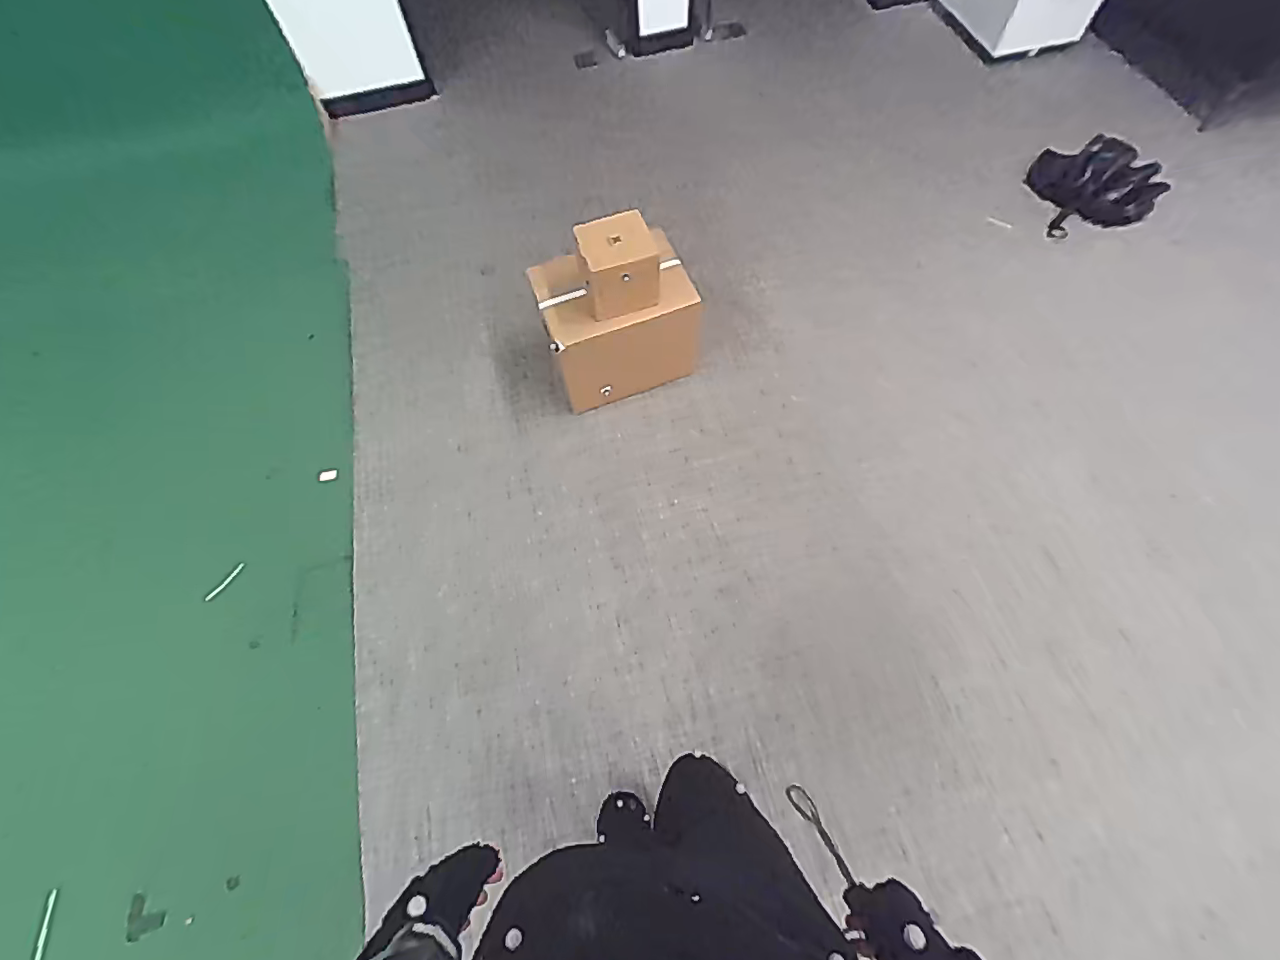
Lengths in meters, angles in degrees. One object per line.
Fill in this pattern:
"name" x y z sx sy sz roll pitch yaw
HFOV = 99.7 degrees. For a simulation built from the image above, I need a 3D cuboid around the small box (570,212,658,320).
"small box" -0.061 -0.534 1.367 0.179 0.176 0.168 -18 66 -7
